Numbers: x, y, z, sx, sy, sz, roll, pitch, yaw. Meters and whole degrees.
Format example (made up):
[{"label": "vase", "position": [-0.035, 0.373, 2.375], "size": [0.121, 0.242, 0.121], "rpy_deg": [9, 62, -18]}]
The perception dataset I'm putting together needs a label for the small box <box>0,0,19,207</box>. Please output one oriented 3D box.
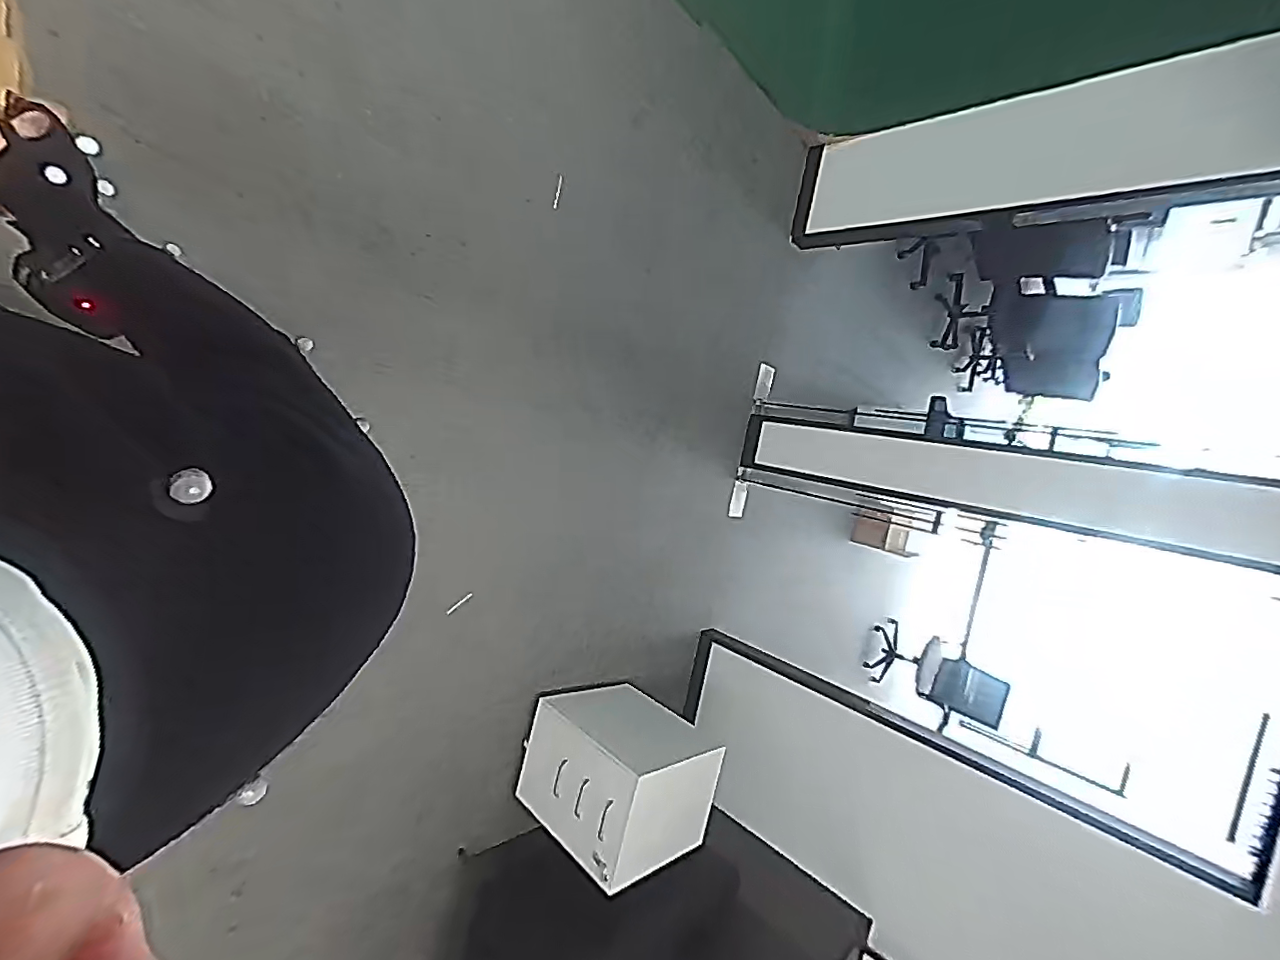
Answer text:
[{"label": "small box", "position": [-0.665, -0.356, 0.460], "size": [0.179, 0.176, 0.168], "rpy_deg": [-1, 91, -46]}]
